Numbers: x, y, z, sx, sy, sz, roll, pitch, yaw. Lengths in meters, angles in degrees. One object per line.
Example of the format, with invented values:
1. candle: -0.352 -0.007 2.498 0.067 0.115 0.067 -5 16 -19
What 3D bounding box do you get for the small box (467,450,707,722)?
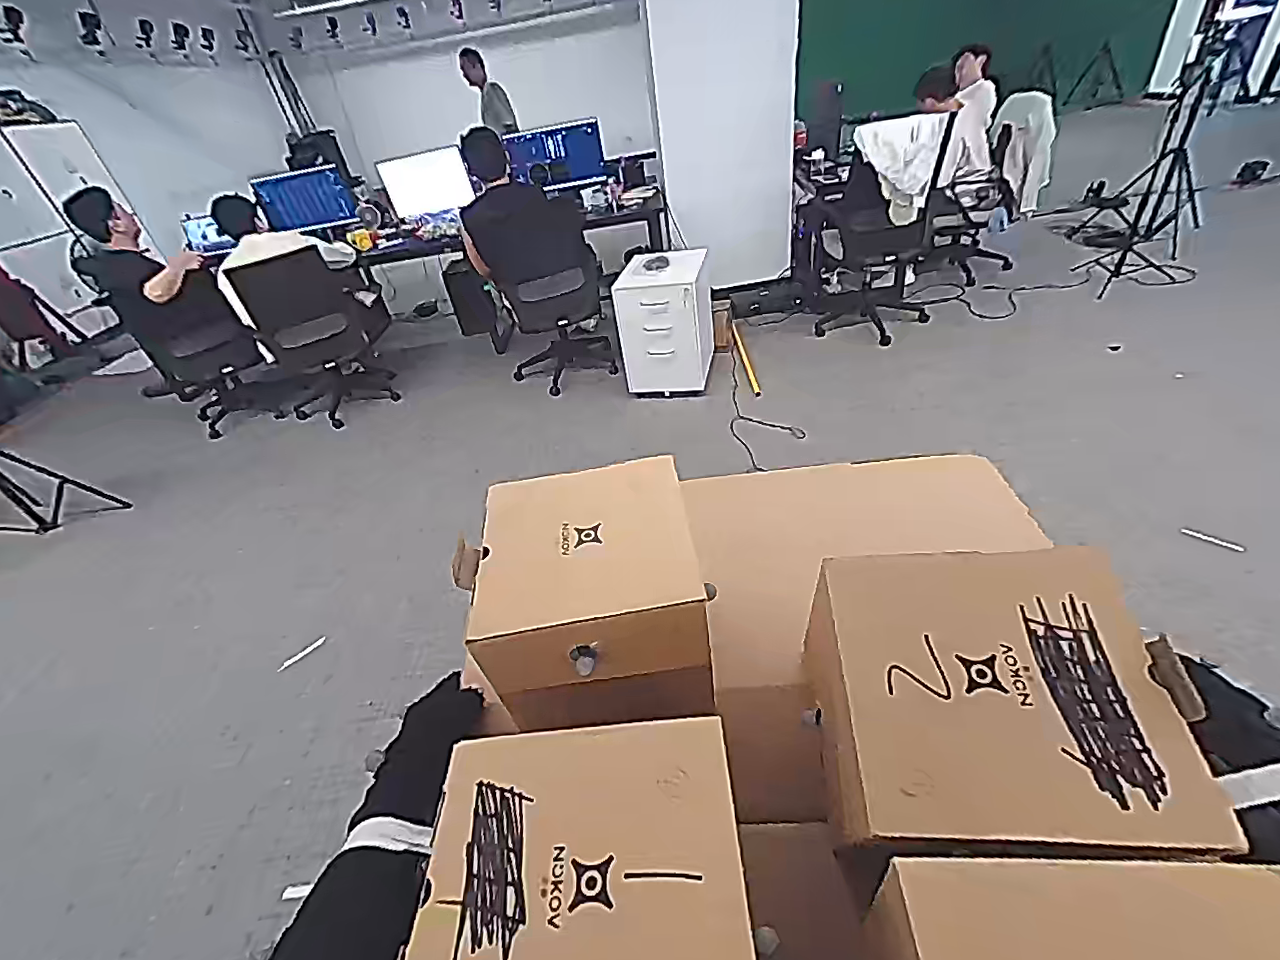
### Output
1. small box: -0.037 0.099 0.503 0.179 0.176 0.168 -11 41 2
